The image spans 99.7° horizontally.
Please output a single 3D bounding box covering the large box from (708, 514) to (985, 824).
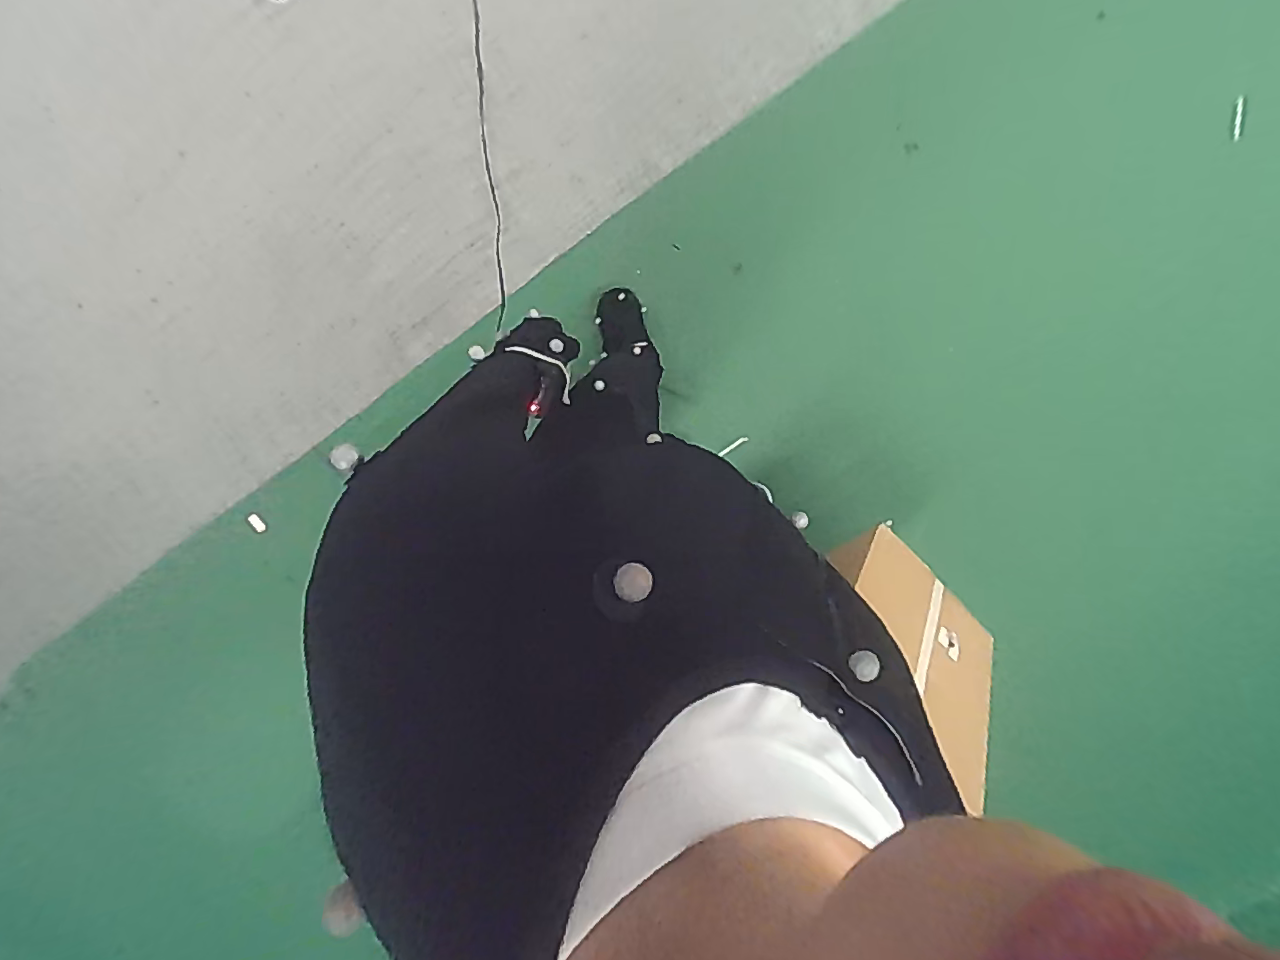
[{"bbox_3d":[0.393,0.342,1.014,0.320,0.408,0.320,47,132,3],"label":"large box"}]
